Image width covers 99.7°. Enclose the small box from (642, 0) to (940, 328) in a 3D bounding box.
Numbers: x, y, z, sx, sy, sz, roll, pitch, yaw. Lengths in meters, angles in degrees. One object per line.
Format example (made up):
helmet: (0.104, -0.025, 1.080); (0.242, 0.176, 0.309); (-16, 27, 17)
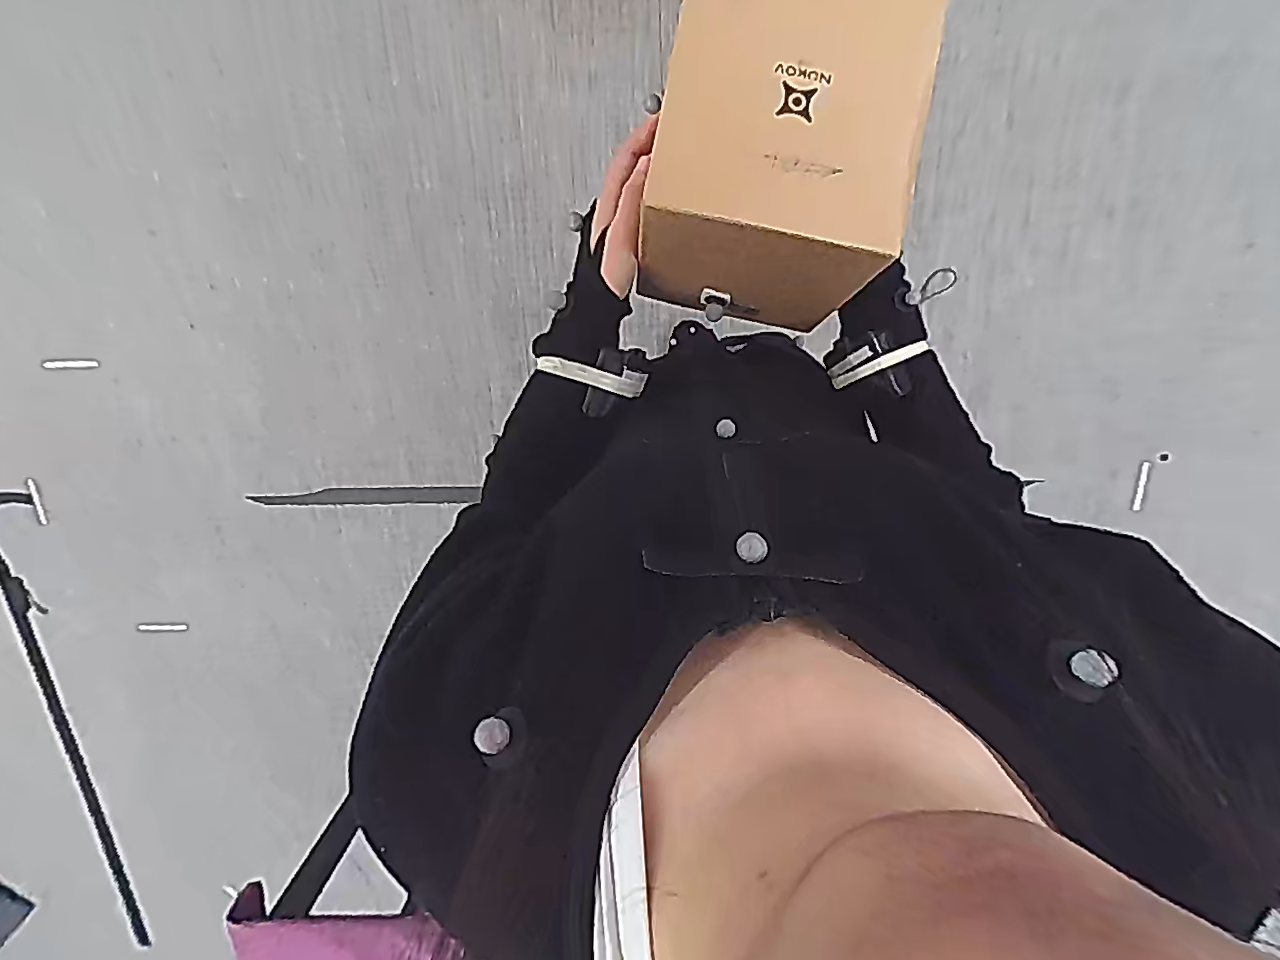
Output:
small box: (0.095, -0.241, 0.422); (0.168, 0.176, 0.179); (11, 89, -1)
